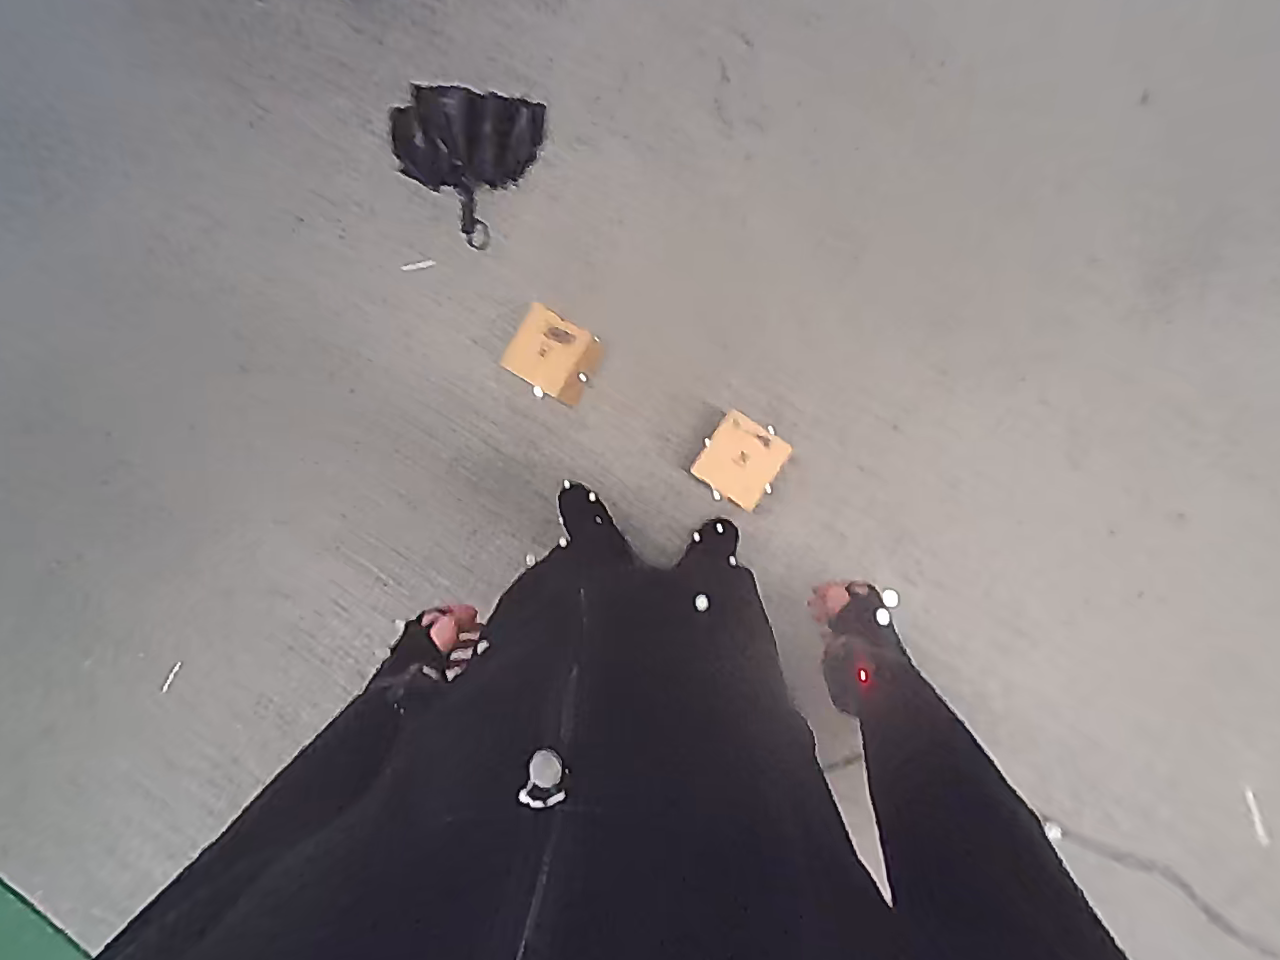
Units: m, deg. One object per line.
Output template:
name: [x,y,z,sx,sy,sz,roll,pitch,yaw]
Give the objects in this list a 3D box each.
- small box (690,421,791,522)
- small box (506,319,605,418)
small box: [0.243,-0.017,1.305,0.168,0.176,0.179,34,95,9]
small box: [-0.206,-0.276,1.381,0.168,0.176,0.179,31,95,9]
